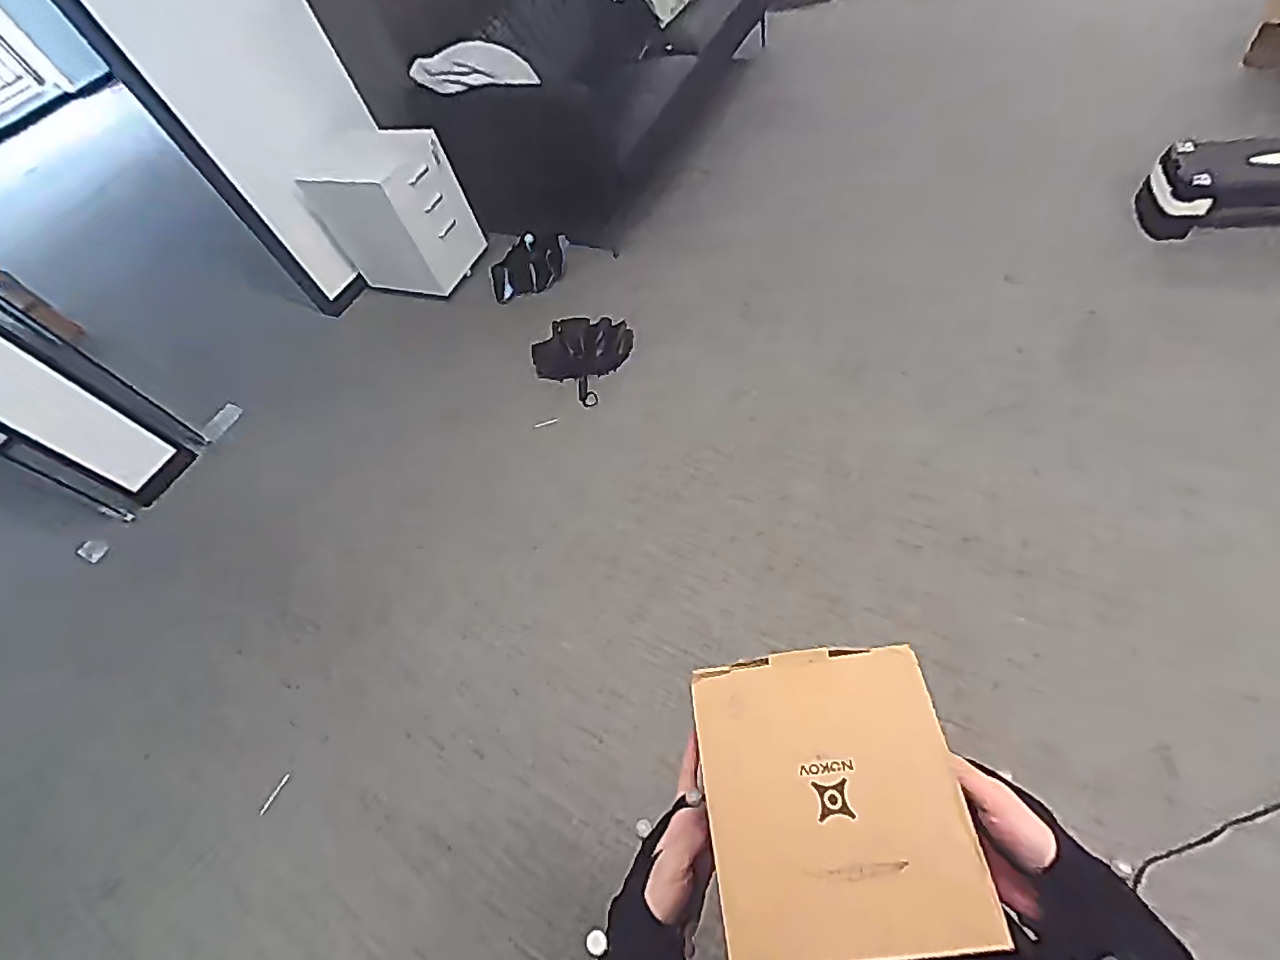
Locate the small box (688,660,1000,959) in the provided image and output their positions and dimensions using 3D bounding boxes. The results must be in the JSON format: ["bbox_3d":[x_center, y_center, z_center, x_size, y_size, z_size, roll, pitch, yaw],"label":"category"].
[{"bbox_3d":[0.129,0.254,0.427,0.168,0.176,0.179,-7,62,2],"label":"small box"}]
